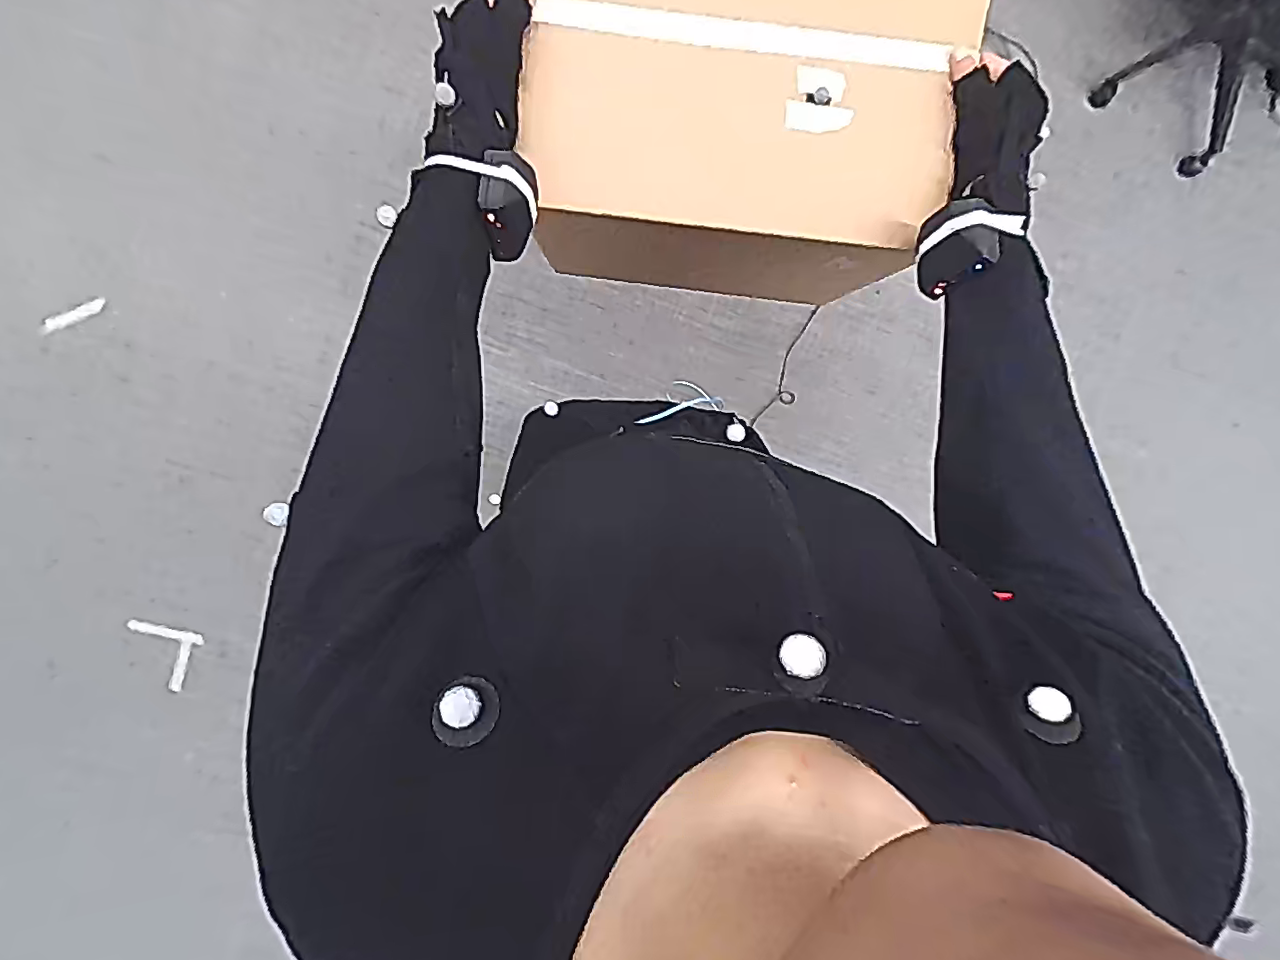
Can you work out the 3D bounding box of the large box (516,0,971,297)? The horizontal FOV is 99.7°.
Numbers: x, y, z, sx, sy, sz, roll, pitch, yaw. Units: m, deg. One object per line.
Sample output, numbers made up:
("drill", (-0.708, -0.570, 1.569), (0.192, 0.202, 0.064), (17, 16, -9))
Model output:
("large box", (0.087, -0.412, 0.631), (0.408, 0.320, 0.320), (5, 100, -2))
